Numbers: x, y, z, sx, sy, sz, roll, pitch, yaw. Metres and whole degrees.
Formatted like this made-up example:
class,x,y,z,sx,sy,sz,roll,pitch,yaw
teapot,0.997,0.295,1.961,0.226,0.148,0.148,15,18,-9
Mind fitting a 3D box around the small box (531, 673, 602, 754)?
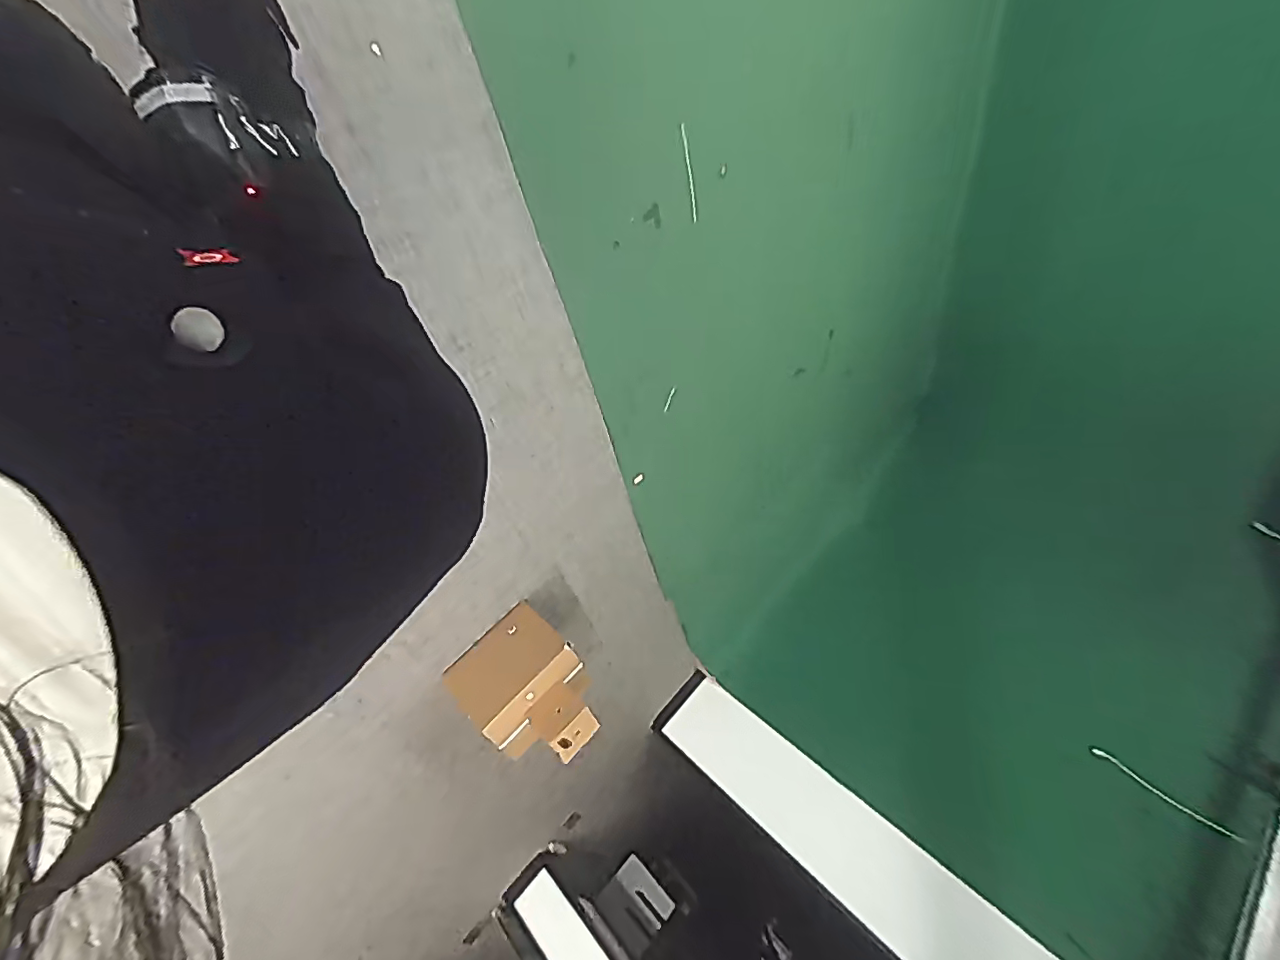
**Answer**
class,x,y,z,sx,sy,sz,roll,pitch,yaw
small box,-0.274,0.851,1.978,0.179,0.176,0.168,-42,133,-21
